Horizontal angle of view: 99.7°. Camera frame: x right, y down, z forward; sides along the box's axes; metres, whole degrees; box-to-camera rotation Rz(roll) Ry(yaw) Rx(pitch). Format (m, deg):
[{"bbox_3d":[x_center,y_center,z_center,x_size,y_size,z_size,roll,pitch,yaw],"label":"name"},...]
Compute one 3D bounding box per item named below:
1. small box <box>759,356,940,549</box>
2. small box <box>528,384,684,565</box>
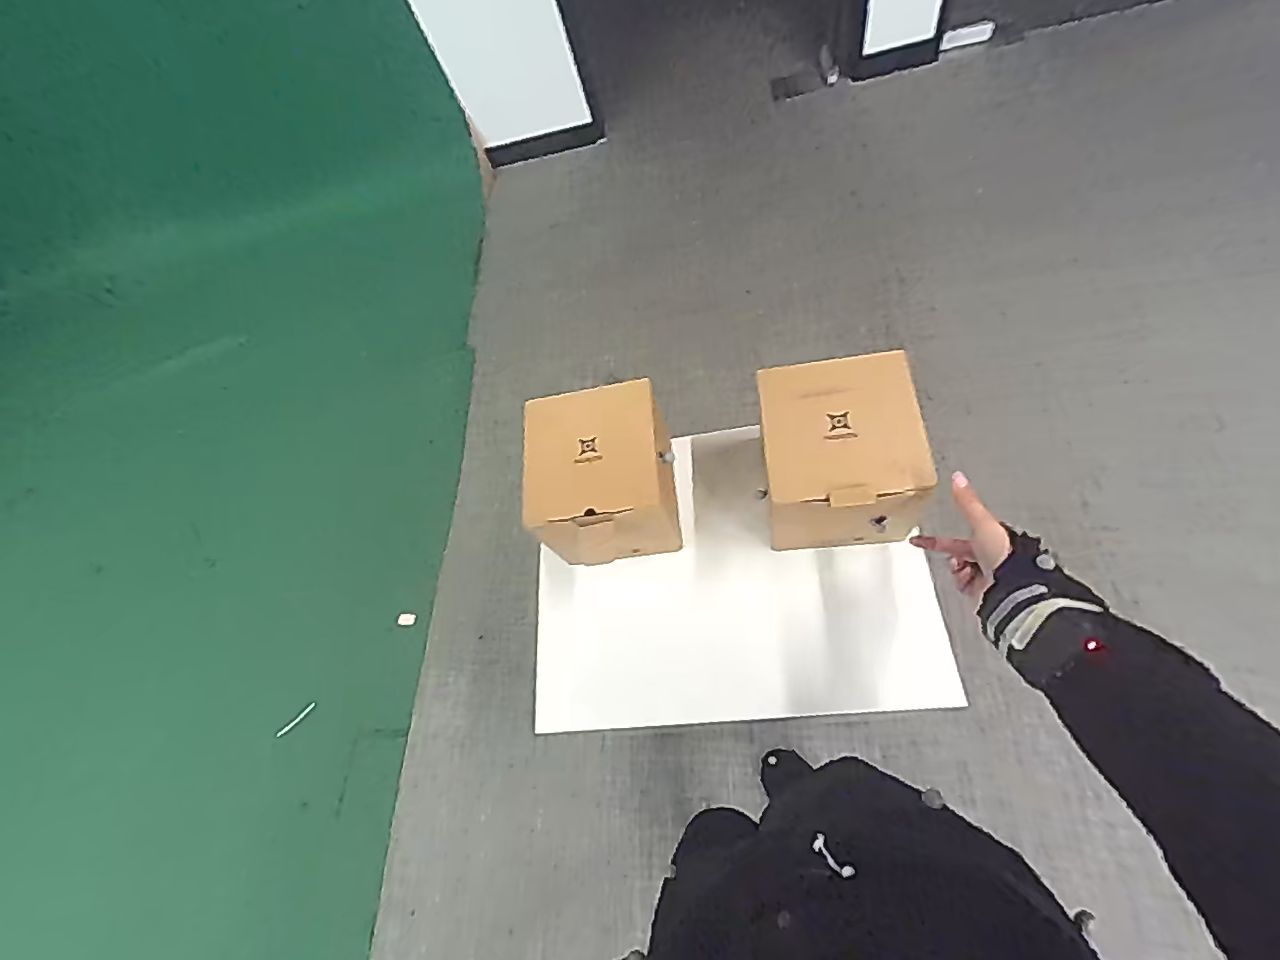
[{"bbox_3d":[0.239,-0.020,0.656,0.168,0.176,0.179,-6,64,12],"label":"small box"},{"bbox_3d":[-0.039,0.001,0.719,0.168,0.176,0.179,-9,65,10],"label":"small box"}]
